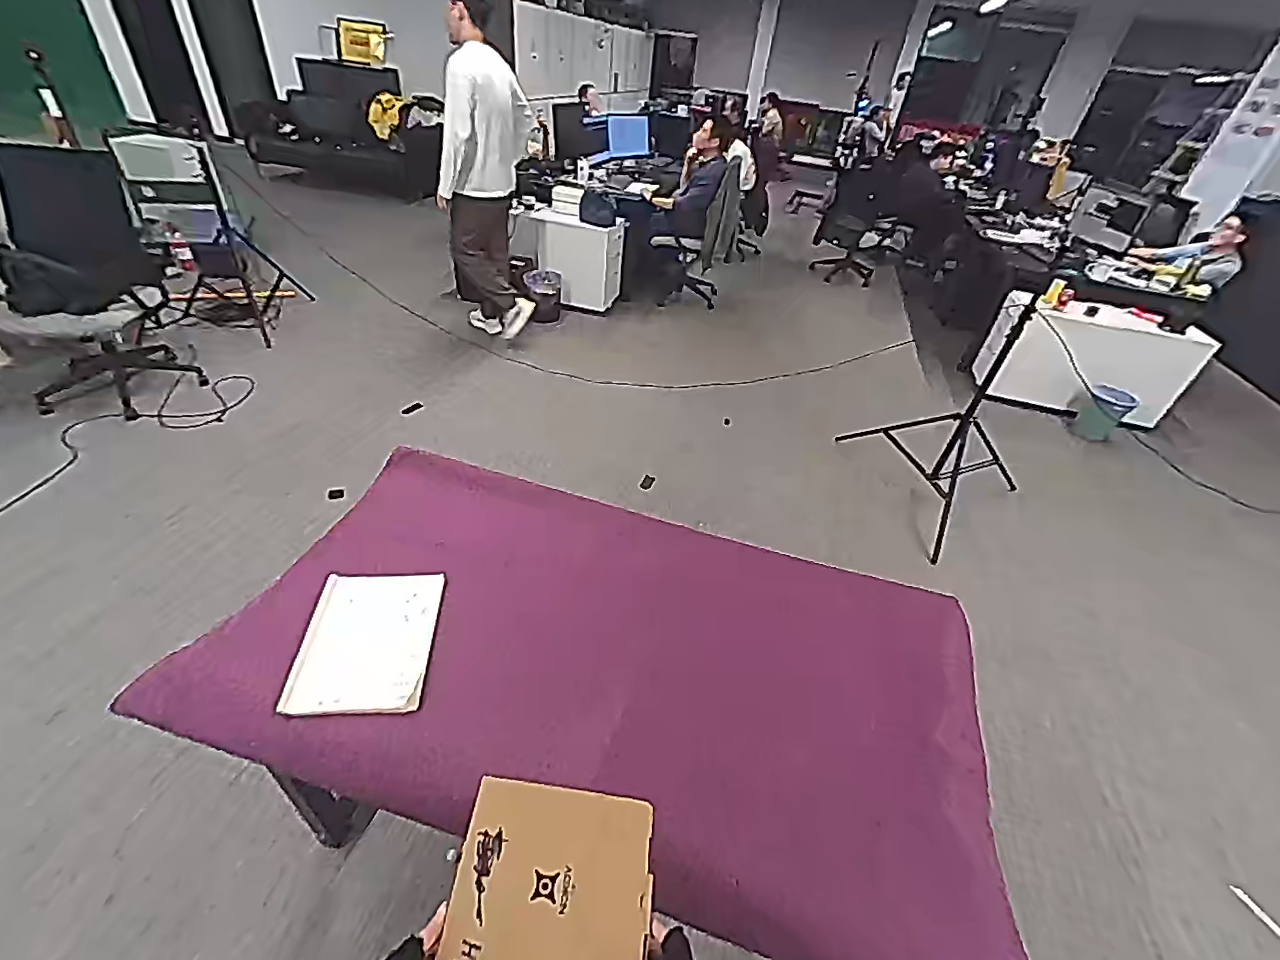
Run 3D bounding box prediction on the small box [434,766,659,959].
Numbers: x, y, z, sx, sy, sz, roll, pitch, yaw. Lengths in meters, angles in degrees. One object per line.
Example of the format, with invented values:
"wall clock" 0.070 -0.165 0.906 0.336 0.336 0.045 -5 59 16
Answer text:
"small box" -0.092 0.411 0.529 0.179 0.176 0.168 14 40 -6
